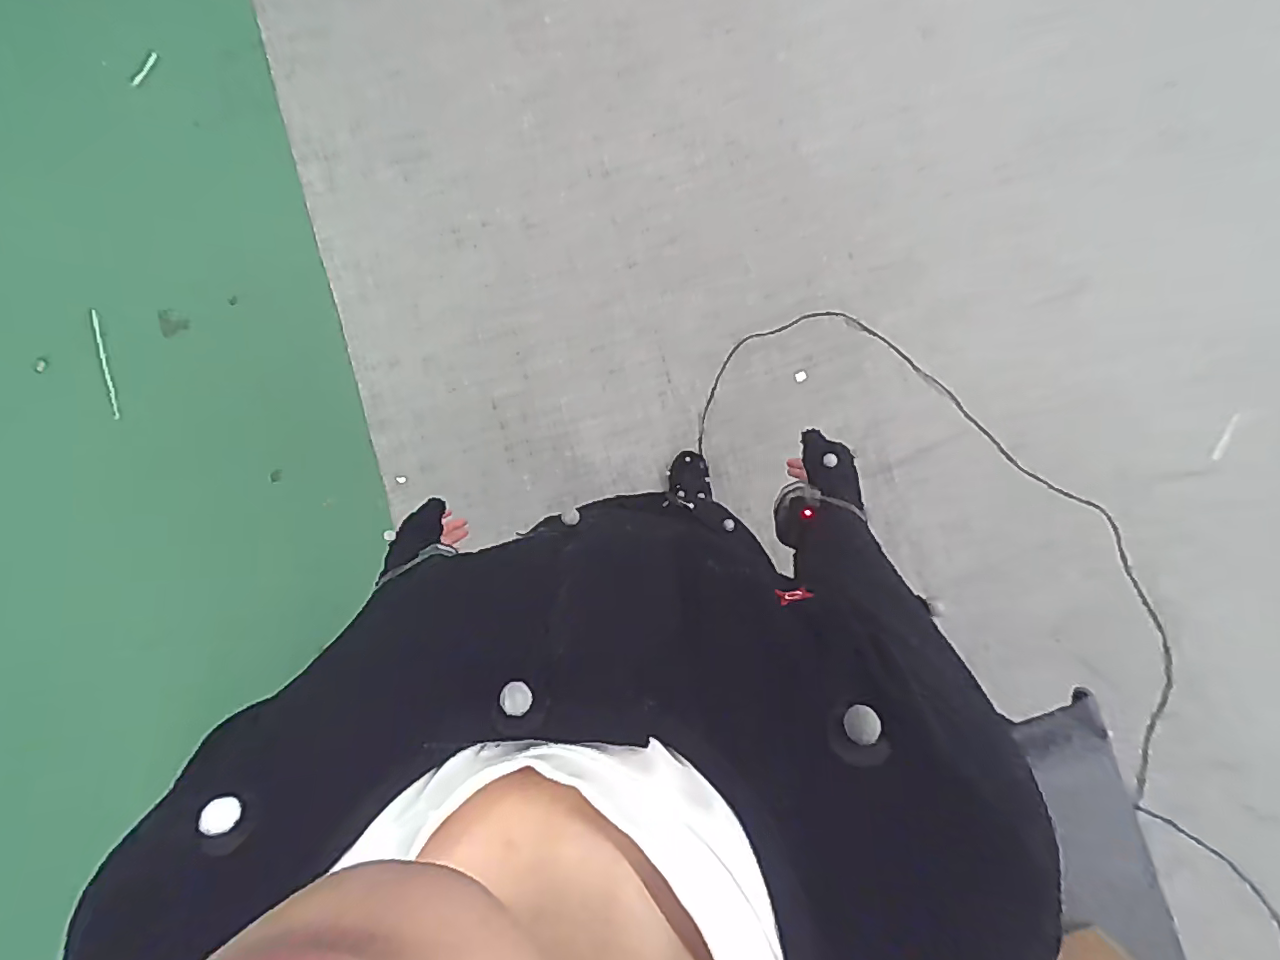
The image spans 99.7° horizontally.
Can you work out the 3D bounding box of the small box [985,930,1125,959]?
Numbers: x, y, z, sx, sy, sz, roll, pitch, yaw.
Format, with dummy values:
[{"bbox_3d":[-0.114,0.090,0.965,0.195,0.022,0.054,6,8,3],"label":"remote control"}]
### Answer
[{"bbox_3d":[0.545,0.691,0.640,0.179,0.176,0.168,-19,88,2],"label":"small box"}]
